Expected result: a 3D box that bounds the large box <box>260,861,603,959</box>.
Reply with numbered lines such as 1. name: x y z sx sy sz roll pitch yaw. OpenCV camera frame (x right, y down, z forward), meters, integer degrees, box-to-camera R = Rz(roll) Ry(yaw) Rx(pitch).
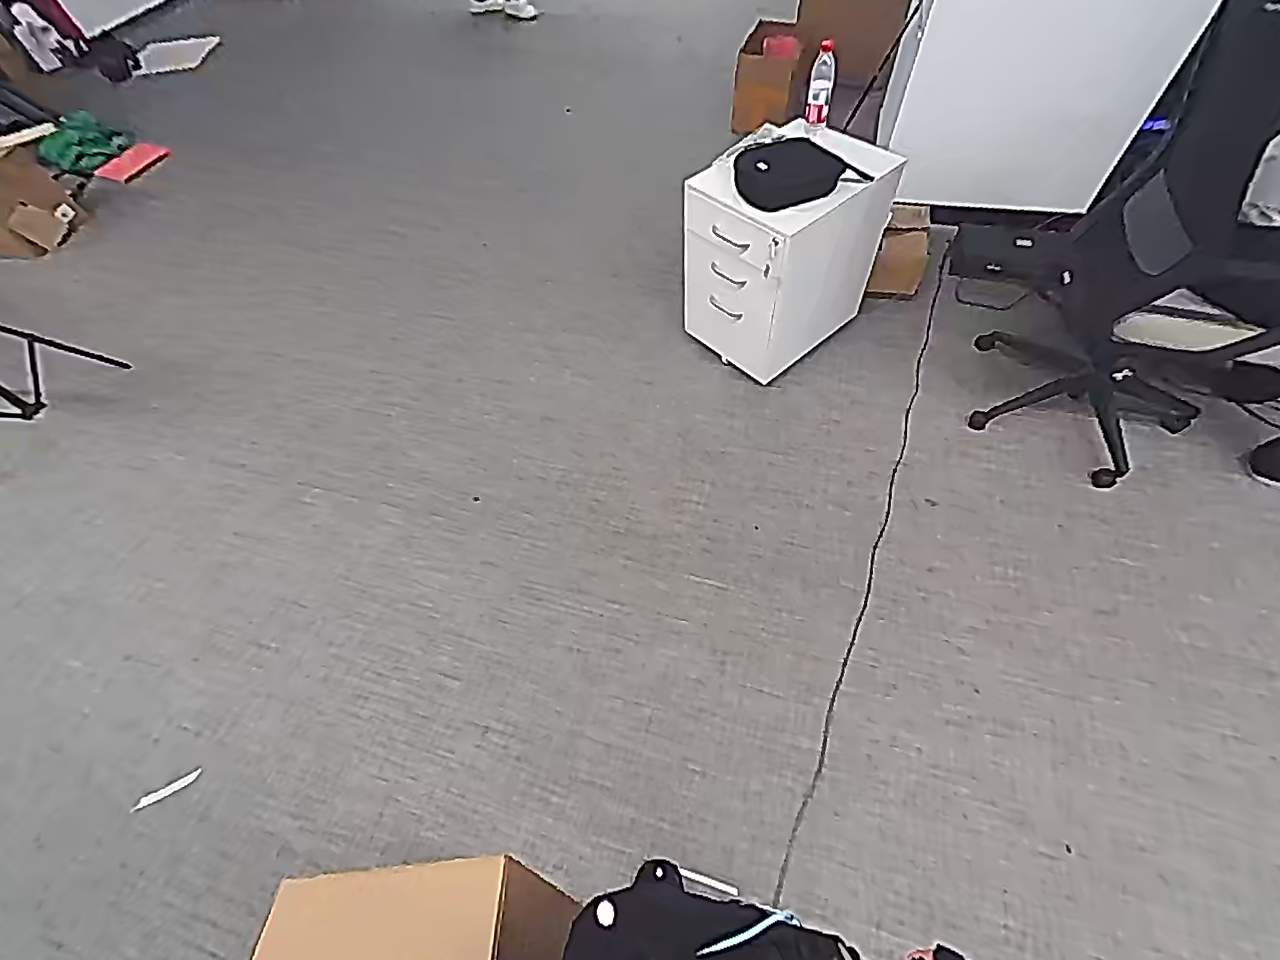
1. large box: -0.258 0.728 0.693 0.320 0.408 0.320 -11 41 10
